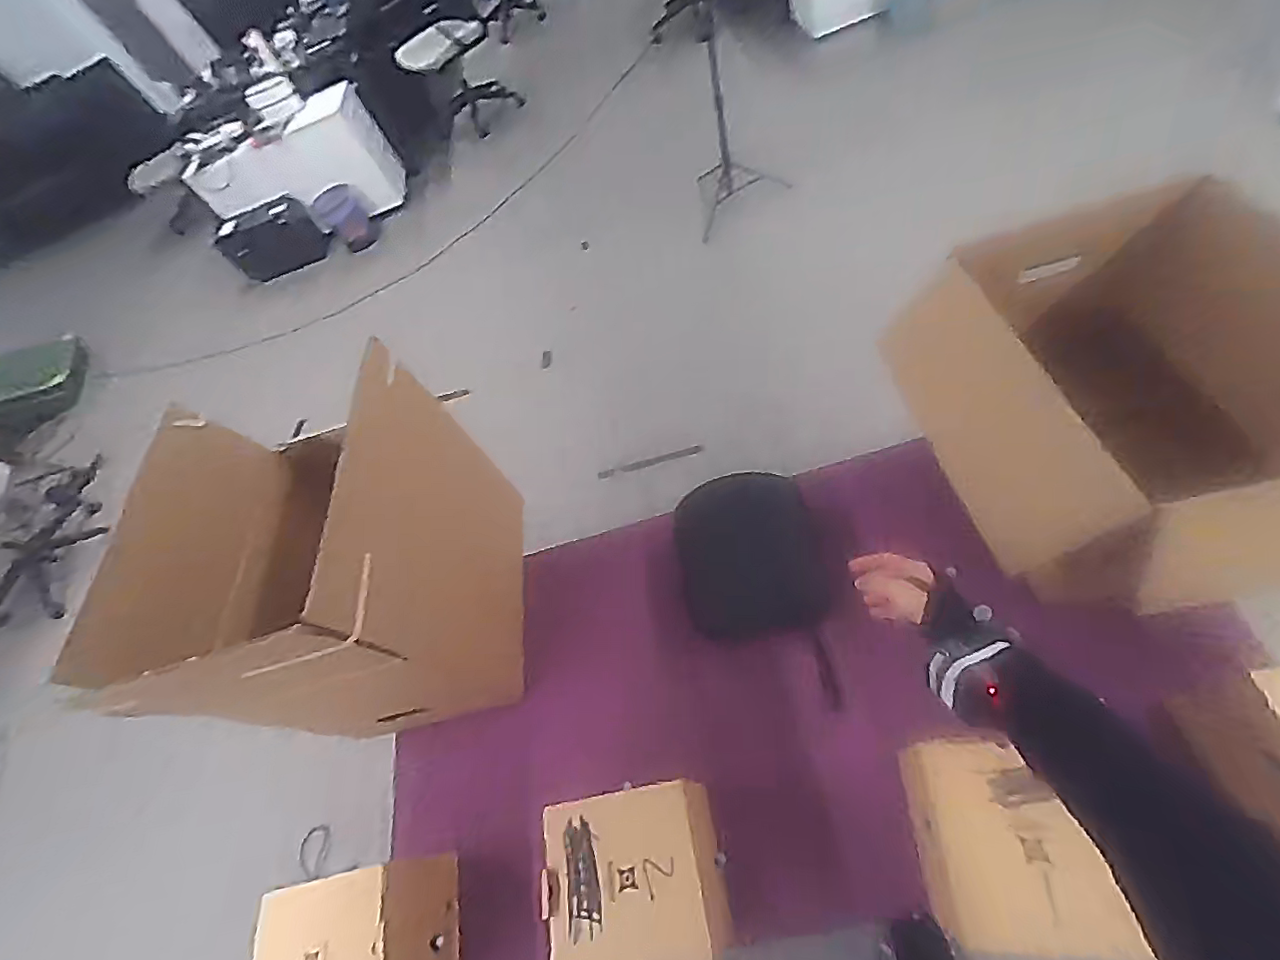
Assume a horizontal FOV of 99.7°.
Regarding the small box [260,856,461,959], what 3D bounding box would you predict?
[{"bbox_3d":[-0.354,0.606,0.699,0.179,0.176,0.168,-18,56,6],"label":"small box"}]
